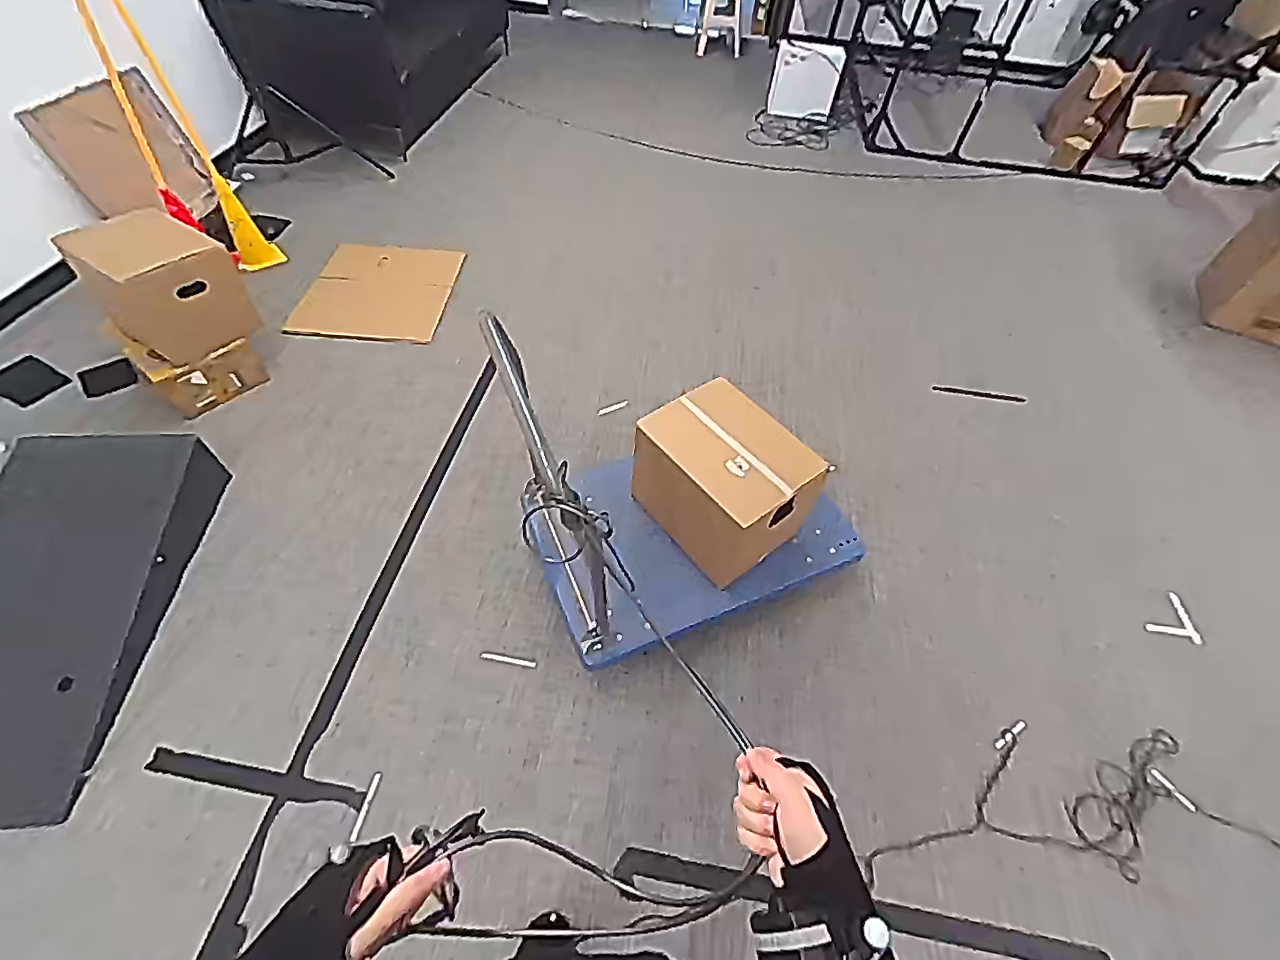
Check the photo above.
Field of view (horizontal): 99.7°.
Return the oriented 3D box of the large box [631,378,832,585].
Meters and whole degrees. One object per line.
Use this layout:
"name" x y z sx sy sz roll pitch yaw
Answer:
"large box" 0.221 -0.001 1.470 0.320 0.320 0.408 -31 62 -24
